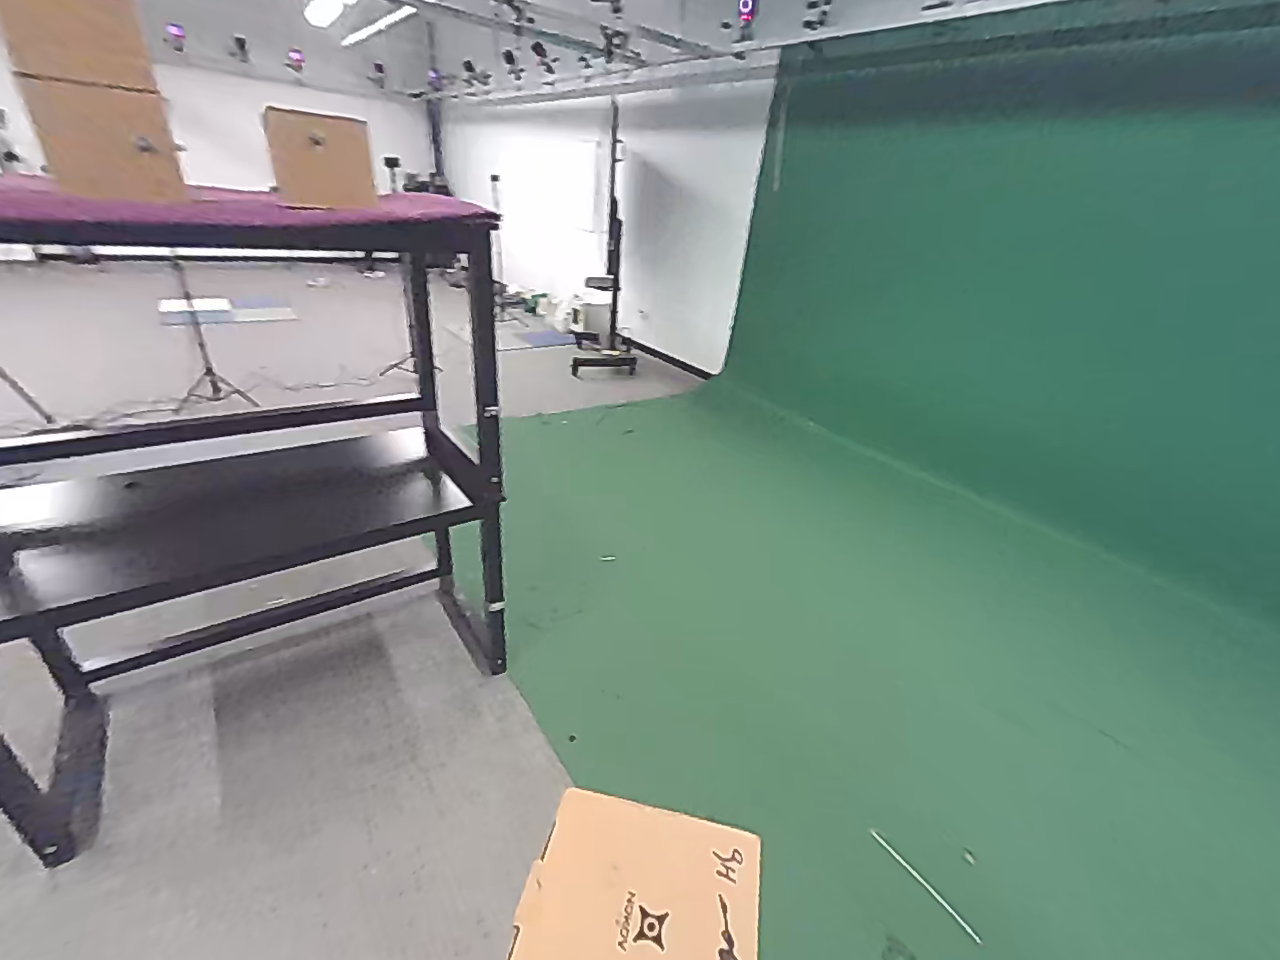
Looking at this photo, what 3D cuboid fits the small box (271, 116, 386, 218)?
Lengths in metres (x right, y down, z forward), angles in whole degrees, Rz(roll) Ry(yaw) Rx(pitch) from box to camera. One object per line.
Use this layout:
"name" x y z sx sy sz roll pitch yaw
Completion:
"small box" -0.660 -0.655 1.150 0.179 0.176 0.168 -14 31 -32

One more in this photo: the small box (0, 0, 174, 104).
"small box" -0.895 -0.717 0.876 0.179 0.176 0.168 -17 34 -36

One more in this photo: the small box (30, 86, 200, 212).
"small box" -0.903 -0.573 0.953 0.179 0.176 0.168 -16 34 -34
